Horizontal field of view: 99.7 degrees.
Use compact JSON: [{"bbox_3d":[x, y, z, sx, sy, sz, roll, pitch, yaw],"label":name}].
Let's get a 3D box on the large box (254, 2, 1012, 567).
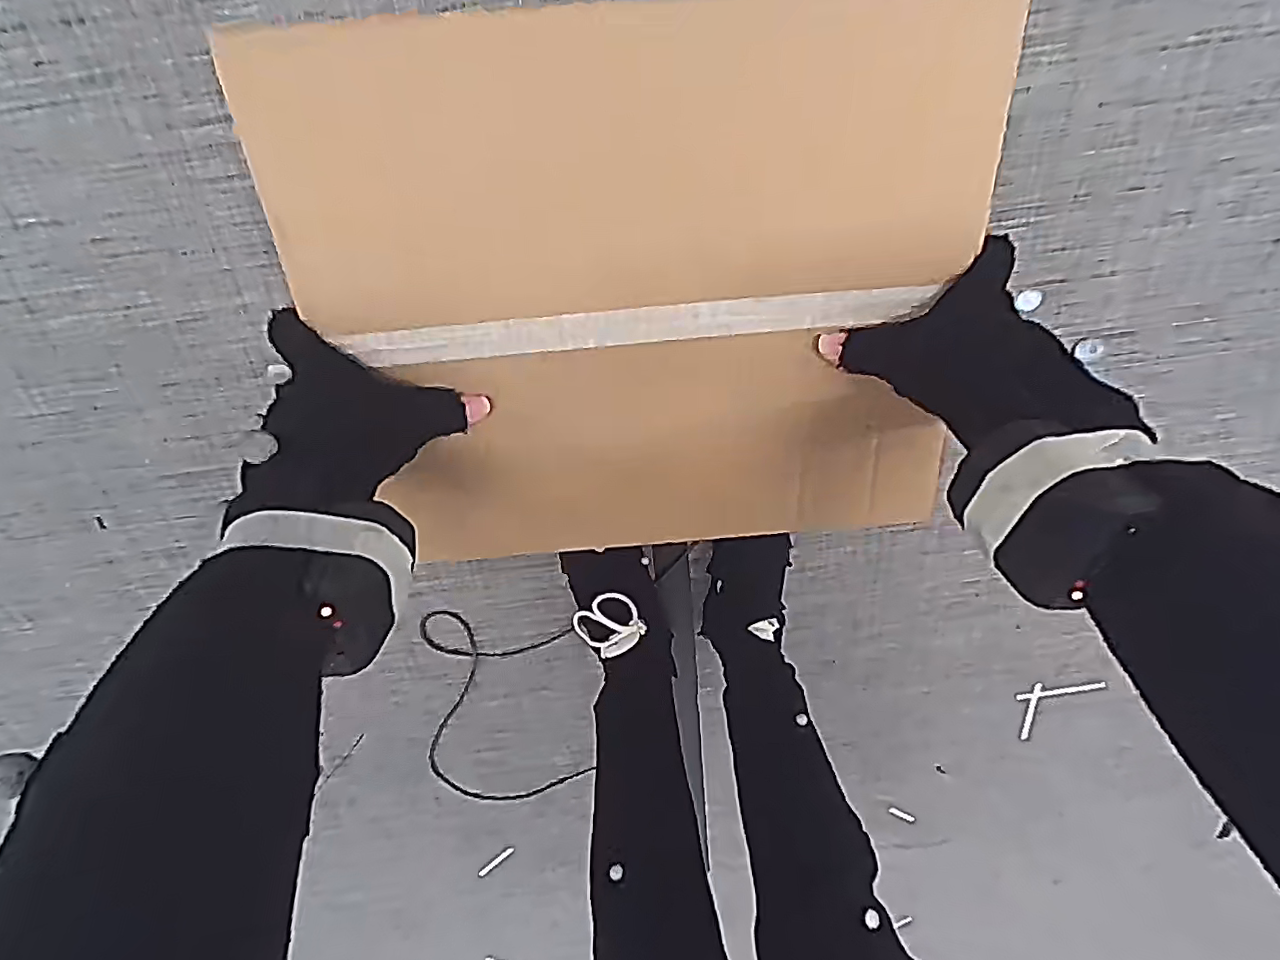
[{"bbox_3d":[0.000,-0.153,0.475,0.408,0.320,0.320,-5,116,-1],"label":"large box"}]
